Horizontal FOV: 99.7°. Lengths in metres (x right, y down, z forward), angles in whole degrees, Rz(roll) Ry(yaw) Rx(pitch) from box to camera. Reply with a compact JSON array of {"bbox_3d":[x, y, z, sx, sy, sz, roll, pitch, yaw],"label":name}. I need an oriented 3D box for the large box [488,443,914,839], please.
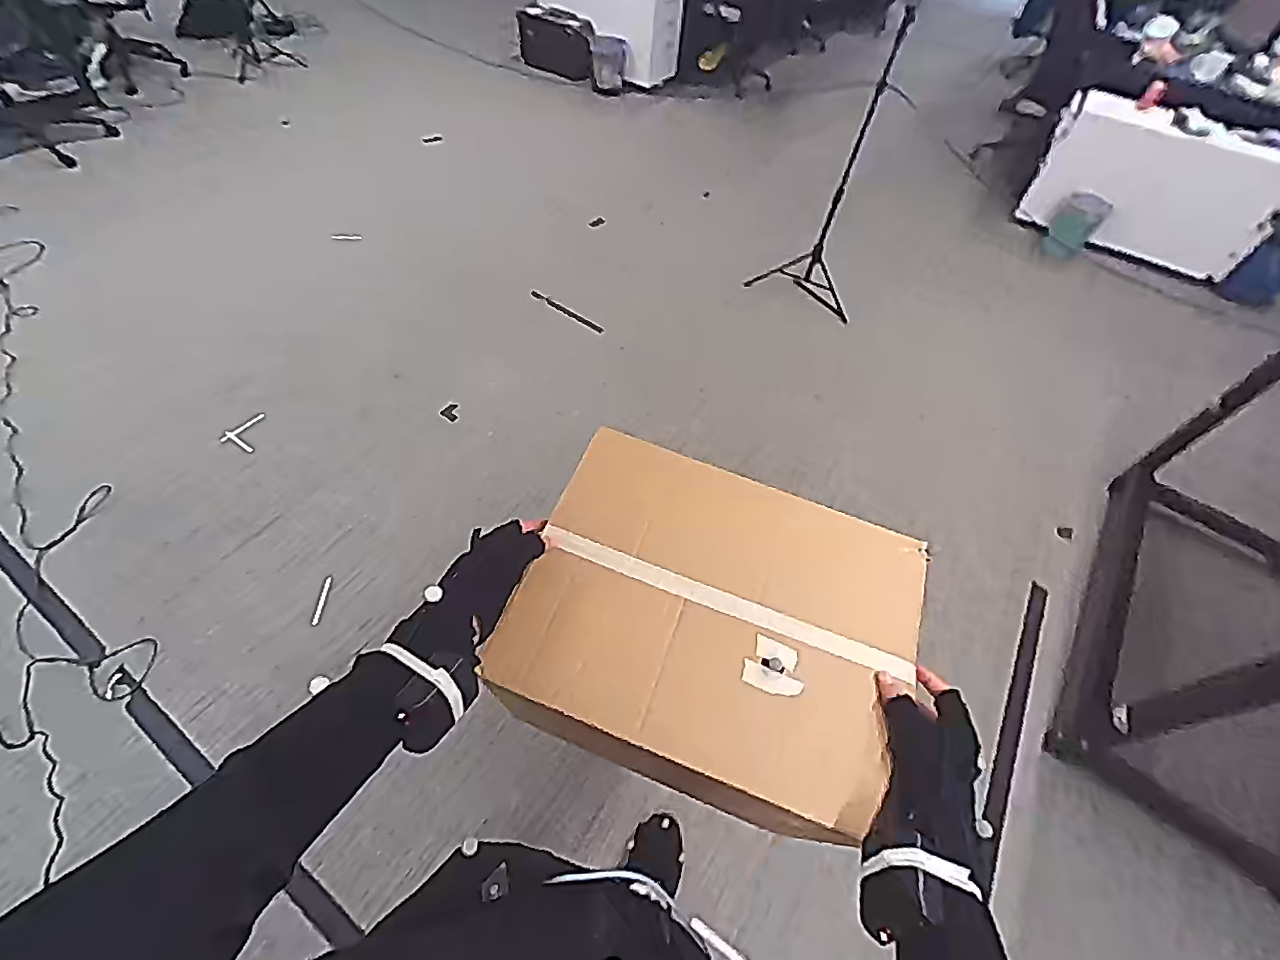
[{"bbox_3d":[0.071,0.212,0.704,0.408,0.320,0.320,20,60,6],"label":"large box"}]
